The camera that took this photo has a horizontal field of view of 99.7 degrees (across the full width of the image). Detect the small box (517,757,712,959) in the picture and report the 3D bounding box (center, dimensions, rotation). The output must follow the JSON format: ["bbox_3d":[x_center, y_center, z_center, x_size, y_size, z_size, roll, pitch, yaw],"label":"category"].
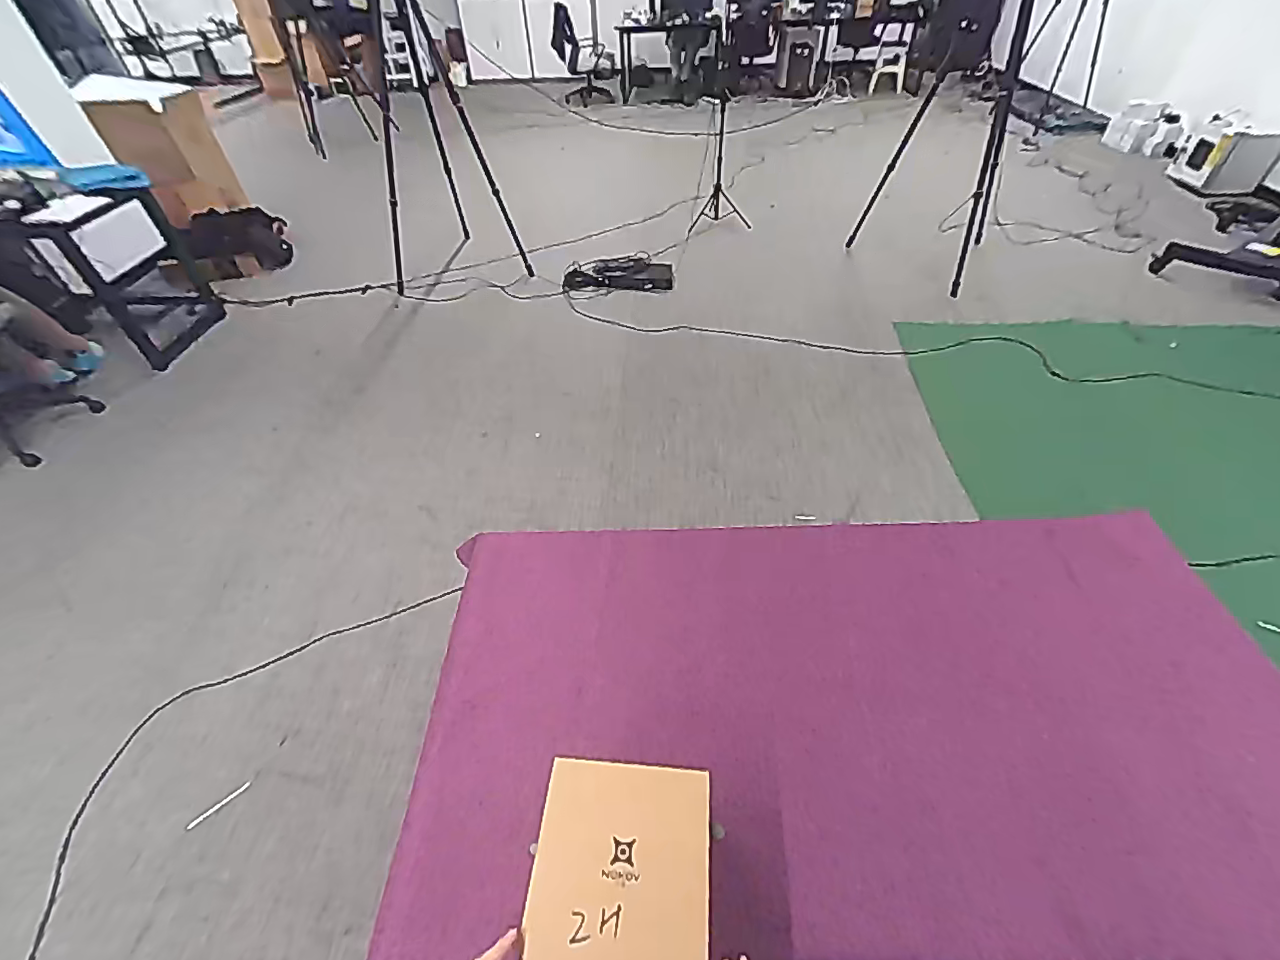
[{"bbox_3d":[-0.014,0.416,0.561,0.168,0.176,0.179,2,45,6],"label":"small box"}]
